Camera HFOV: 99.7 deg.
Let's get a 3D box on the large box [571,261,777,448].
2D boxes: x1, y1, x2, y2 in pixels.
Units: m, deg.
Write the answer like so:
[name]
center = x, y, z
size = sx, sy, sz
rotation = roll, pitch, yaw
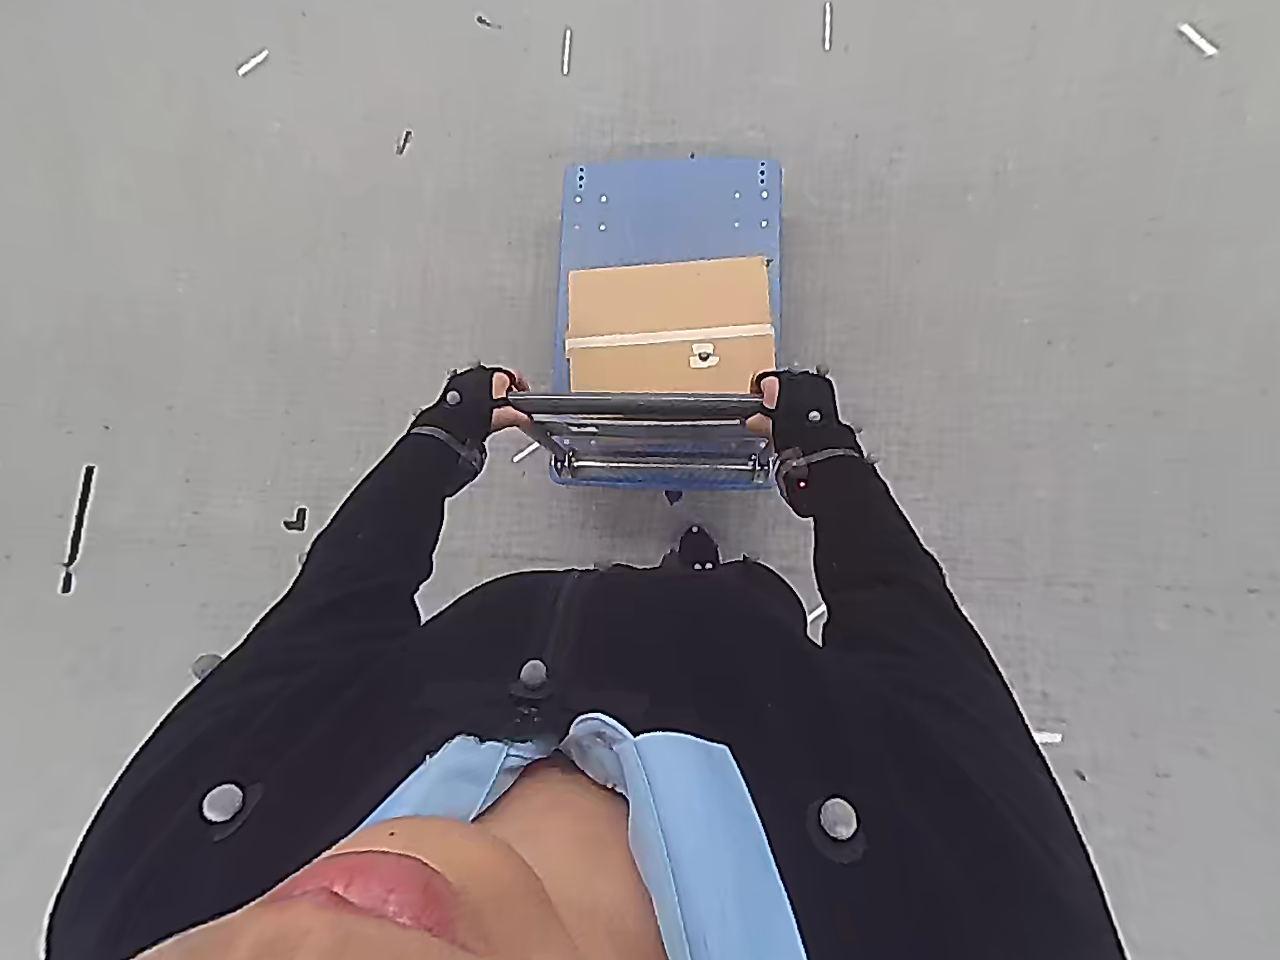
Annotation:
[large box]
center = 0.071, -0.261, 1.230
size = 0.408, 0.320, 0.320
rotation = -3, 83, 3
